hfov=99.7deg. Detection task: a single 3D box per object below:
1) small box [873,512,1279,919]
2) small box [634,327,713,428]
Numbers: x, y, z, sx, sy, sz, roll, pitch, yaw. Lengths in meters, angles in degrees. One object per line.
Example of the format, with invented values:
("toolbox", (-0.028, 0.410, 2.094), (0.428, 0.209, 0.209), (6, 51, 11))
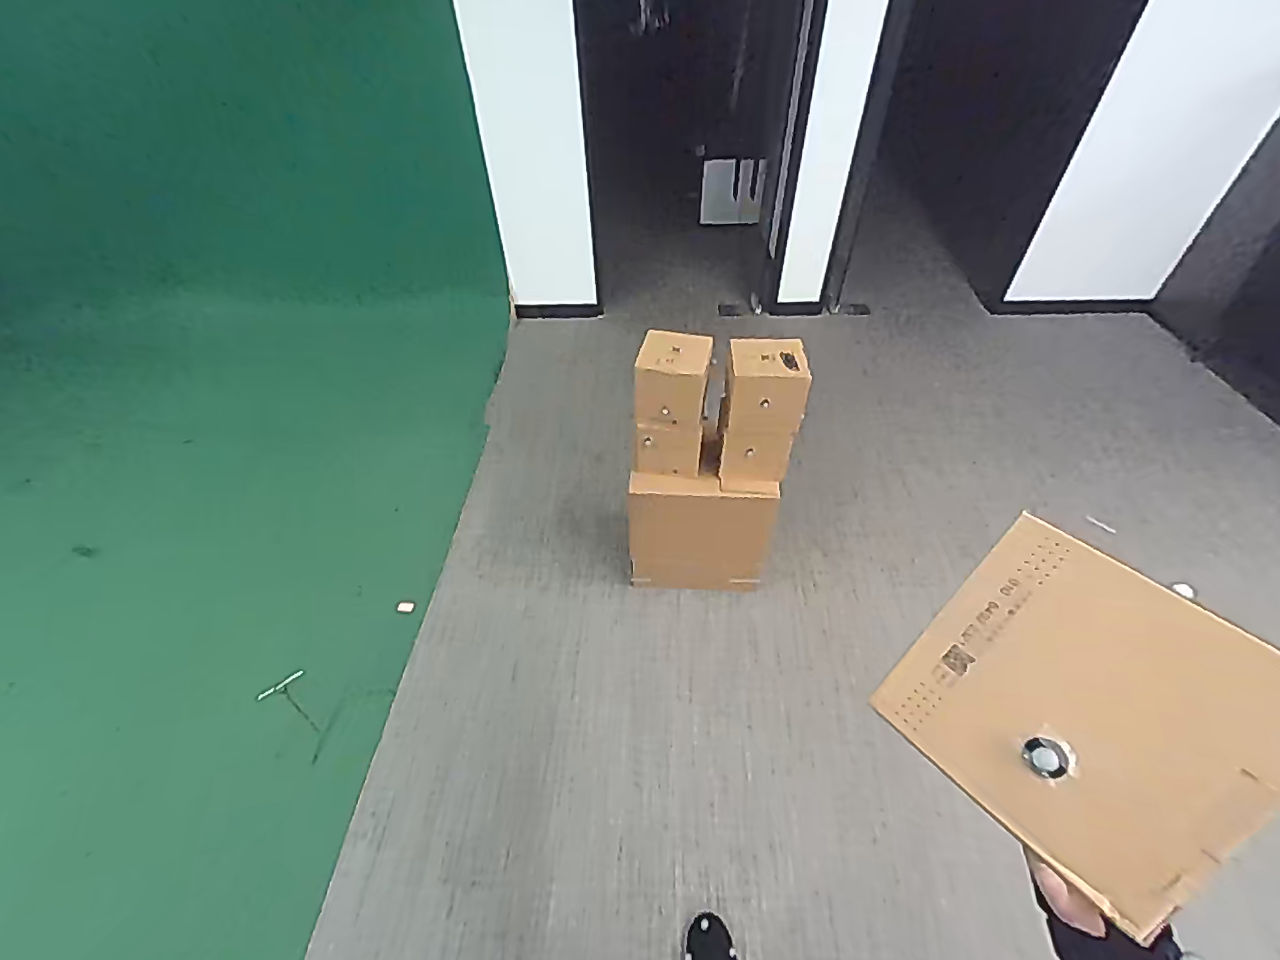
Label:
("small box", (0.293, 0.143, 0.386), (0.176, 0.179, 0.168), (41, 99, 35))
("small box", (0.083, -0.257, 1.357), (0.168, 0.176, 0.179), (9, 47, 9))
